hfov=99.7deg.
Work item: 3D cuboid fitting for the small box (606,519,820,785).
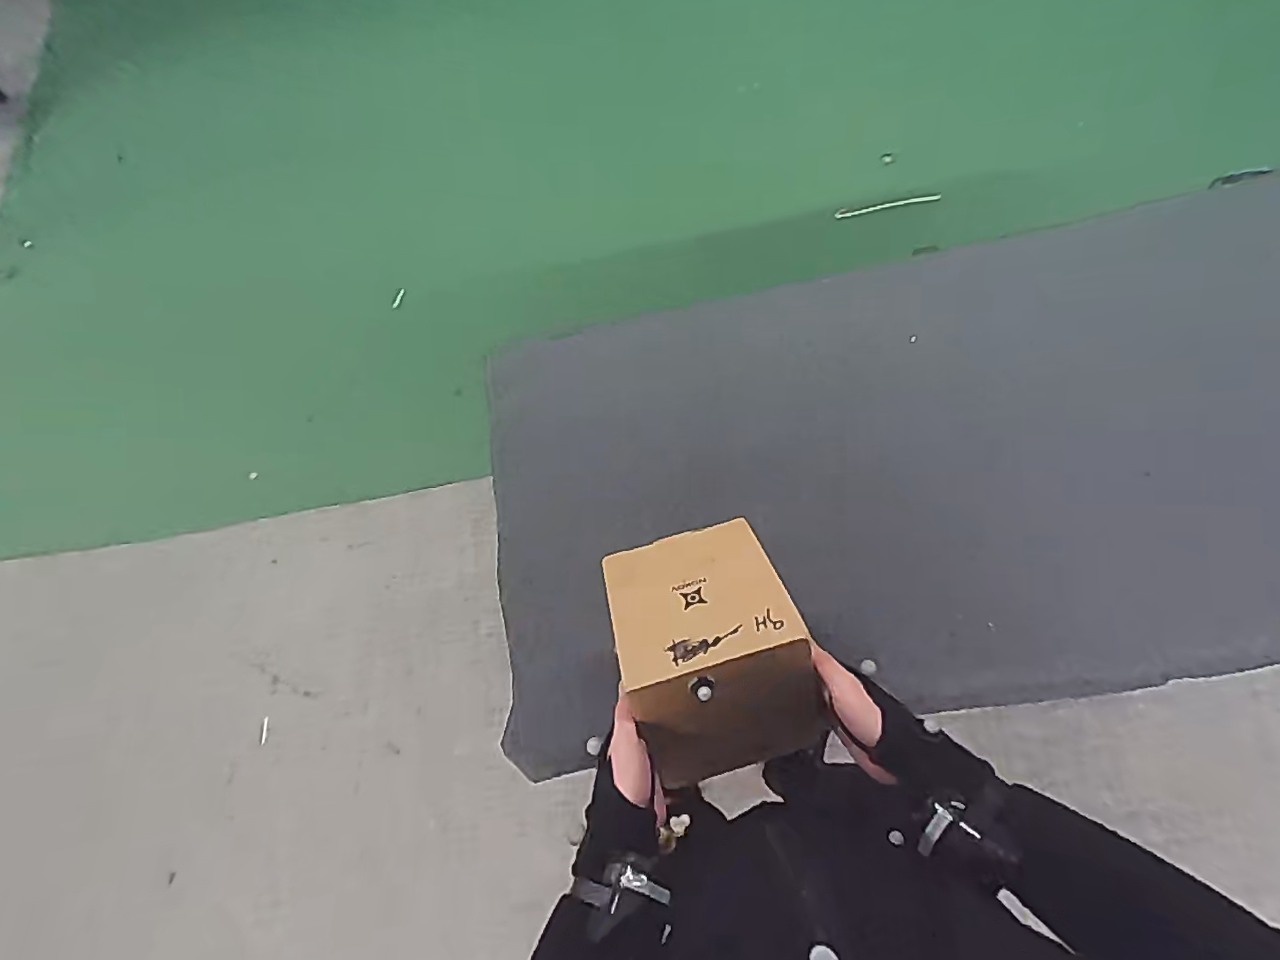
[{"bbox_3d":[0.071,0.174,0.563,0.168,0.176,0.179,-18,33,0],"label":"small box"}]
